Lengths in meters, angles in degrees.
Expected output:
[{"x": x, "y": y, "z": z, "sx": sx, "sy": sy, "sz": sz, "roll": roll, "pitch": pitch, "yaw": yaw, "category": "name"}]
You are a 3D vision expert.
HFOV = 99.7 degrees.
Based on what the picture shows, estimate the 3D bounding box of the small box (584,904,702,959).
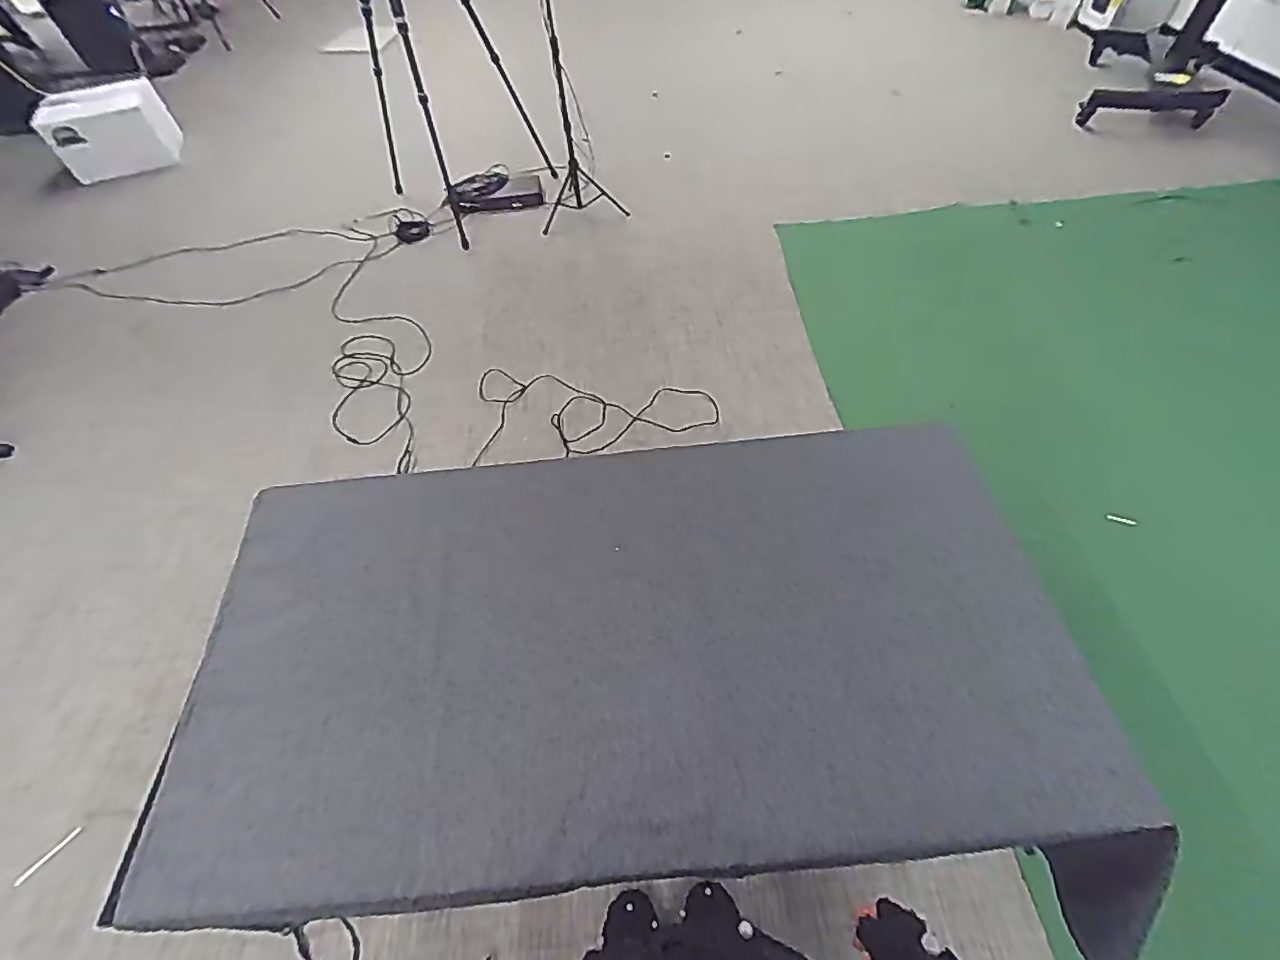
[{"x": -0.010, "y": 0.961, "z": 1.040, "sx": 0.179, "sy": 0.176, "sz": 0.168, "roll": 16, "pitch": 67, "yaw": 36, "category": "small box"}]
